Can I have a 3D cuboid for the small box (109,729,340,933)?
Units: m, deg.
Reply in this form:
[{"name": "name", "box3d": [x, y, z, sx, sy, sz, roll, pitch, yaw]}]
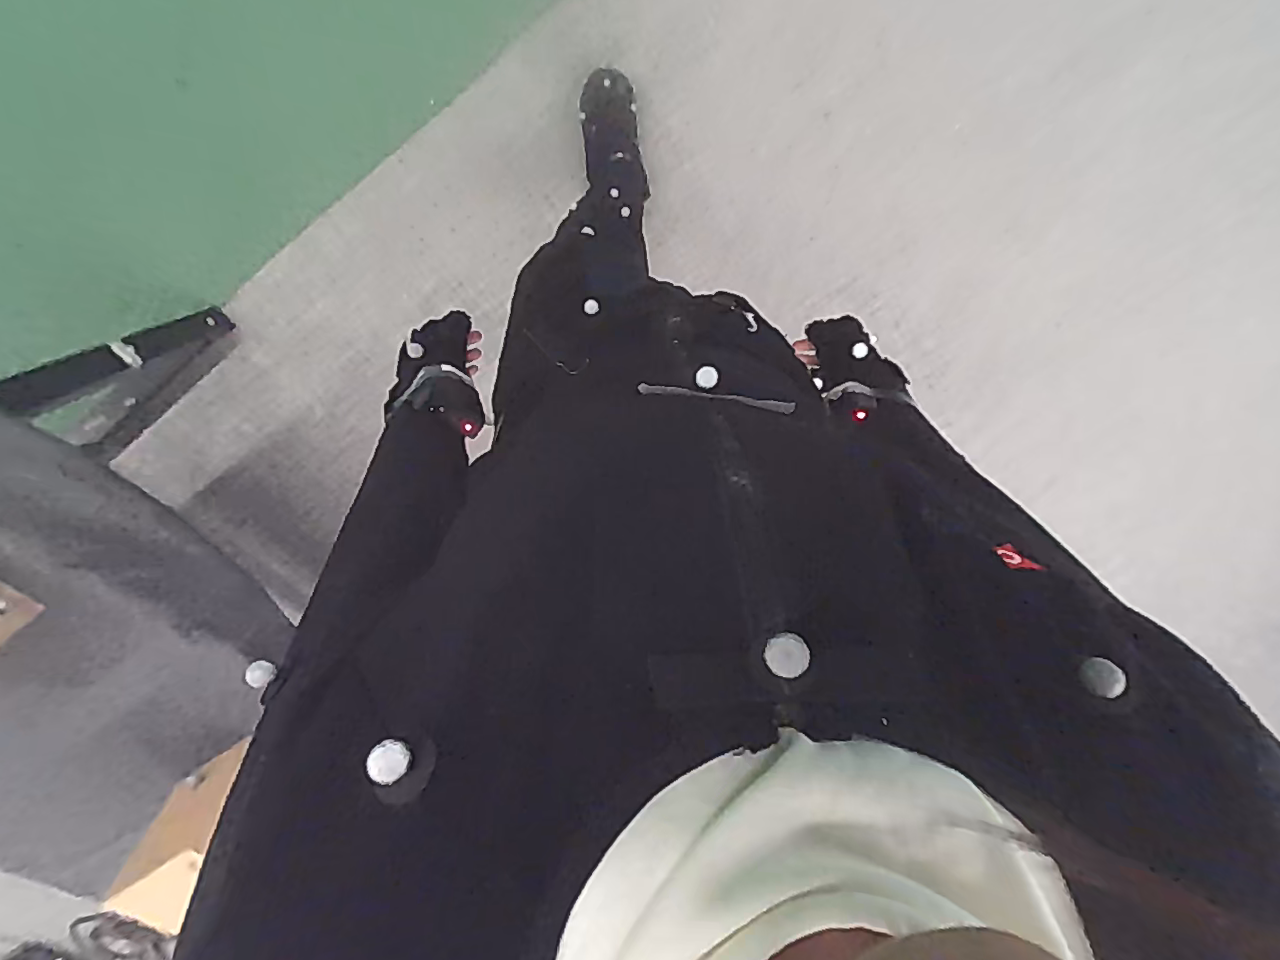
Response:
[{"name": "small box", "box3d": [-0.580, 0.504, 0.786, 0.179, 0.176, 0.168, -34, 118, 12]}]
